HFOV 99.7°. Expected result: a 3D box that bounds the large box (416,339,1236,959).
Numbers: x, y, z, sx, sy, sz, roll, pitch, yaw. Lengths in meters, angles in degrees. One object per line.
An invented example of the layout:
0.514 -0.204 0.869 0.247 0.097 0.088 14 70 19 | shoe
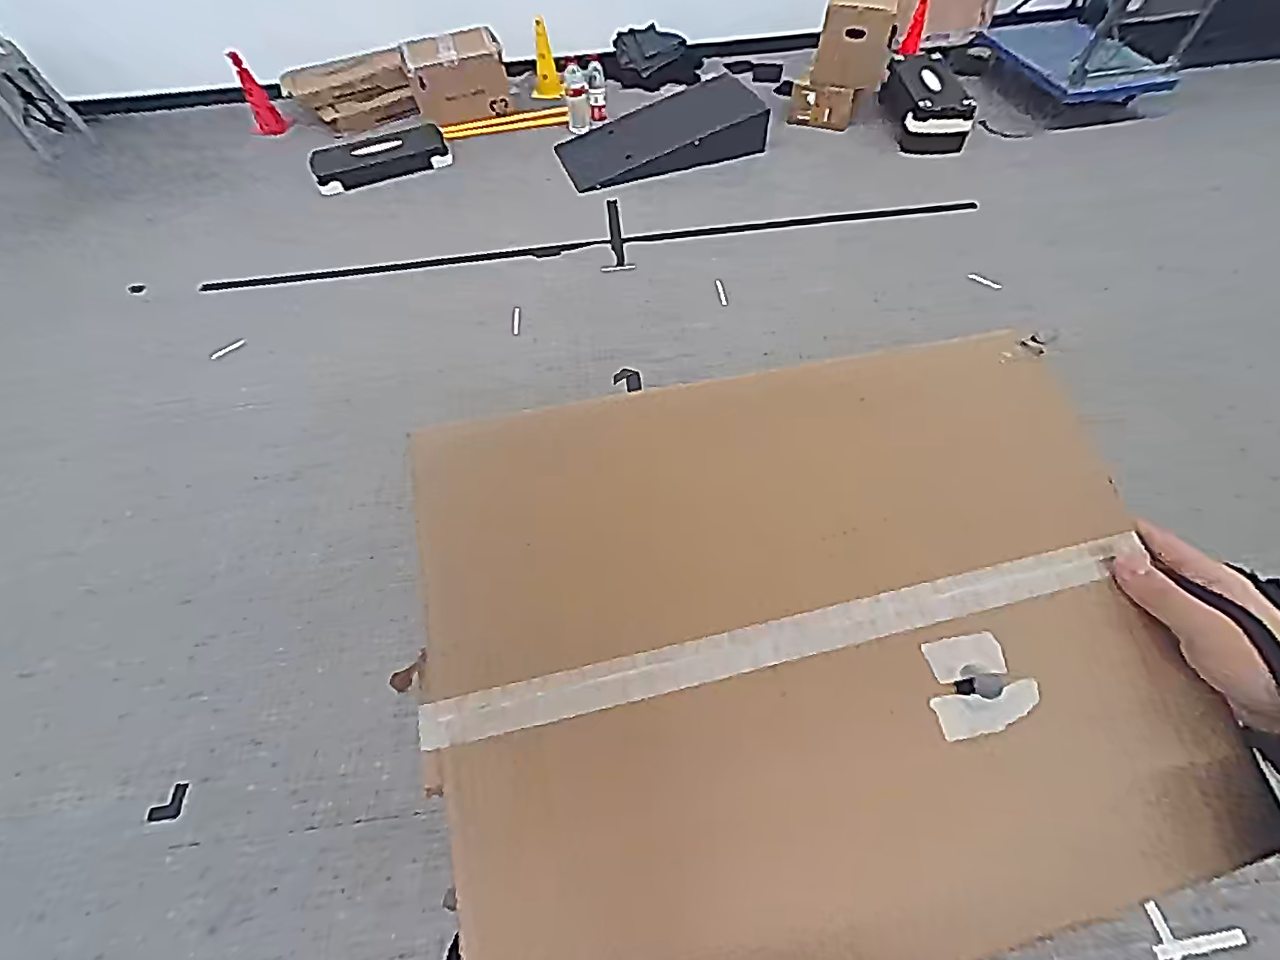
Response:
0.080 0.130 0.442 0.408 0.320 0.320 -11 73 -9 | large box
